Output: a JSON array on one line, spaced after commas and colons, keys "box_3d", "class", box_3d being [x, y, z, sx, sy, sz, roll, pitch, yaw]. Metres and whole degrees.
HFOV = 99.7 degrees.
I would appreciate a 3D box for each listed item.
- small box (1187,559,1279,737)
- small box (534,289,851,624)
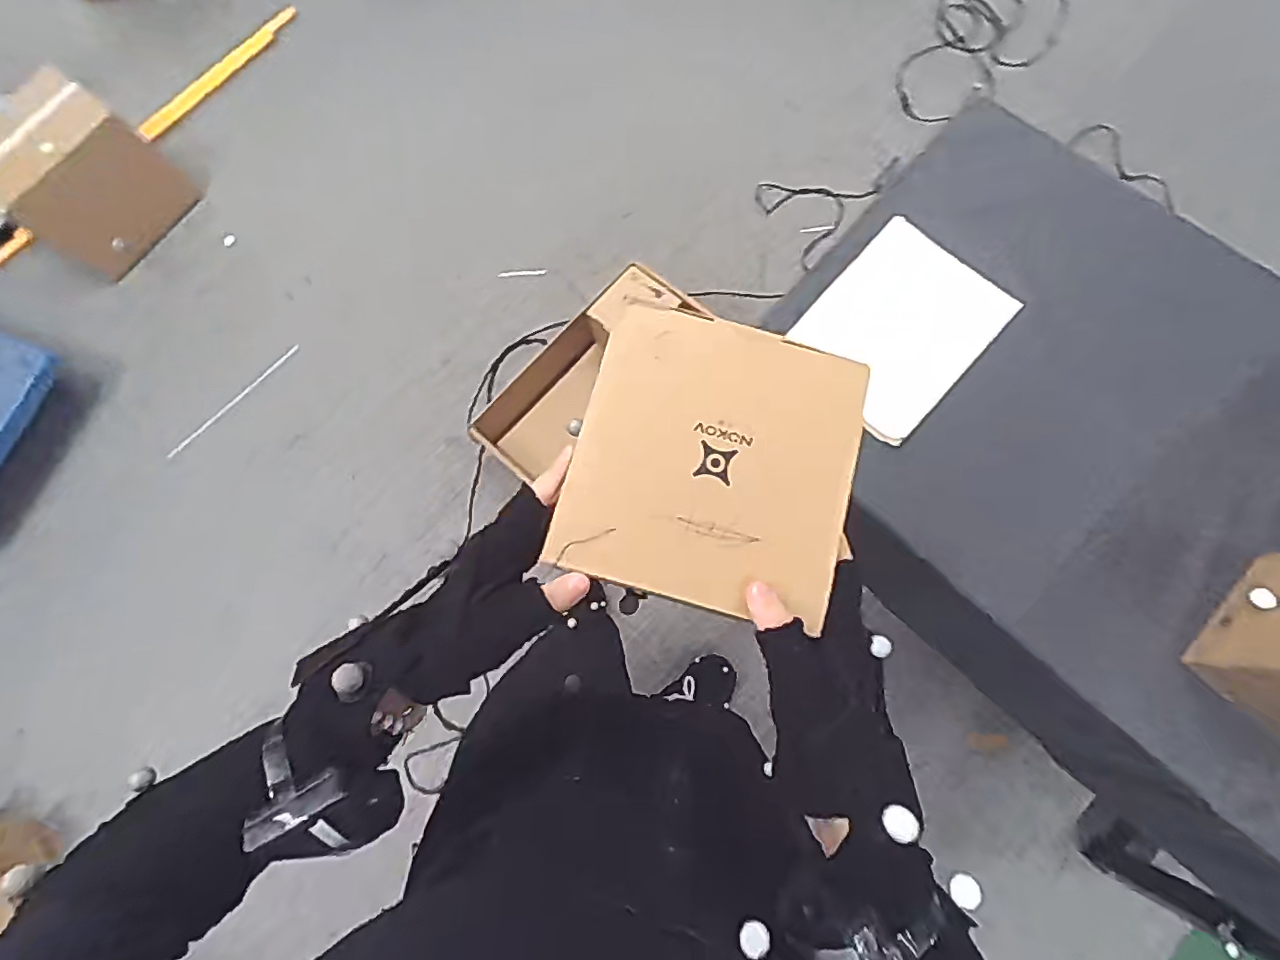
[{"box_3d": [0.701, 0.174, 0.503, 0.168, 0.176, 0.179, -43, 76, -8], "class": "small box"}, {"box_3d": [0.031, -0.003, 0.405, 0.168, 0.176, 0.179, 15, 77, -1], "class": "small box"}]
